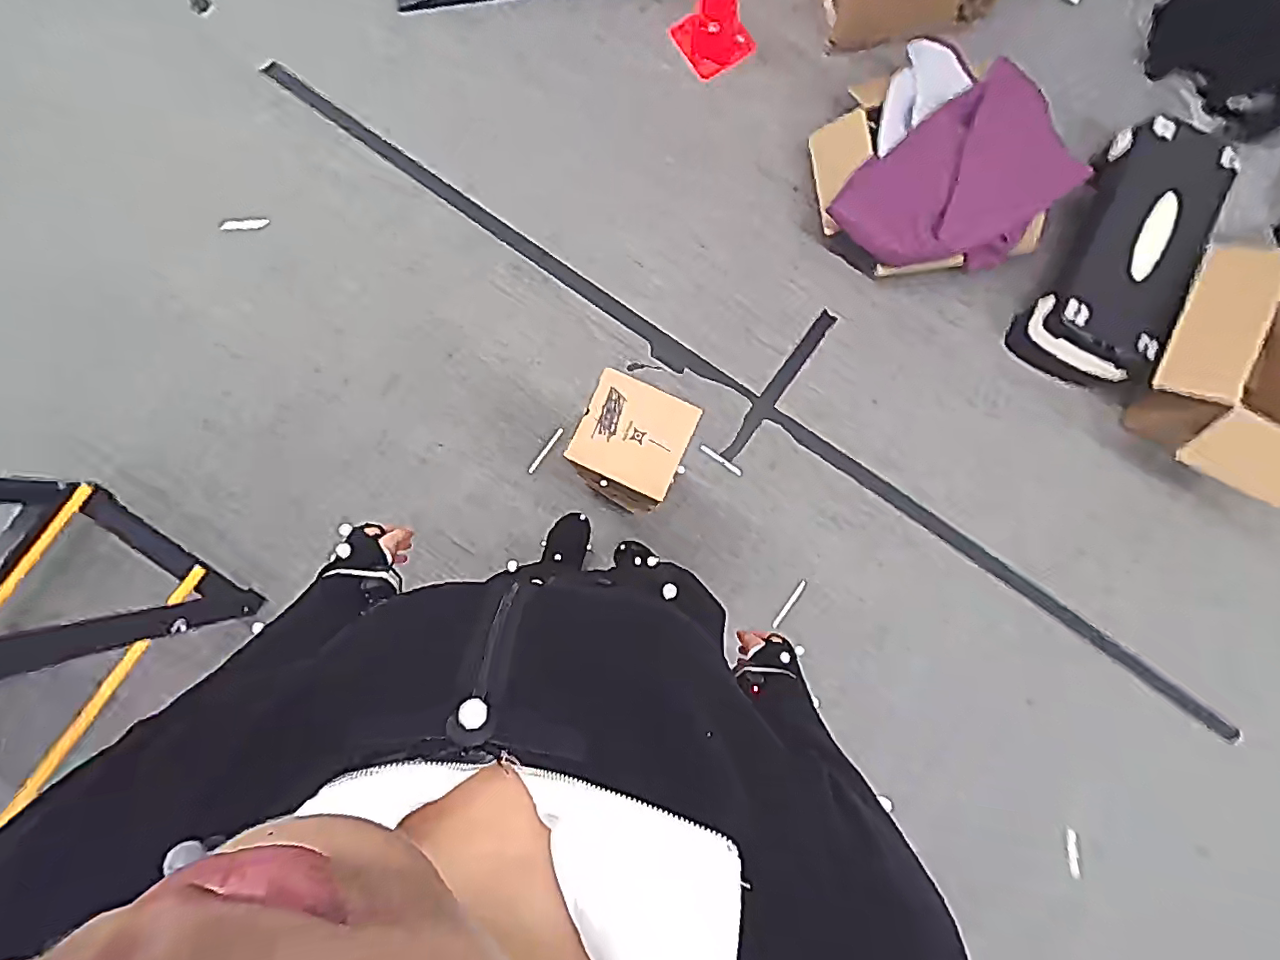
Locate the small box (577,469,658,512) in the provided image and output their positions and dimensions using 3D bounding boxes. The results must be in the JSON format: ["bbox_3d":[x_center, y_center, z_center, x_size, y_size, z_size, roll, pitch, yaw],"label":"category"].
[{"bbox_3d":[-0.009,-0.045,1.106,0.168,0.176,0.179,26,86,2],"label":"small box"}]

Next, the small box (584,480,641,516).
[{"bbox_3d":[-0.030,-0.020,1.434,0.168,0.176,0.179,32,87,3],"label":"small box"}]

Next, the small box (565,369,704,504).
[{"bbox_3d":[-0.009,-0.064,0.942,0.179,0.176,0.168,25,85,1],"label":"small box"}]
